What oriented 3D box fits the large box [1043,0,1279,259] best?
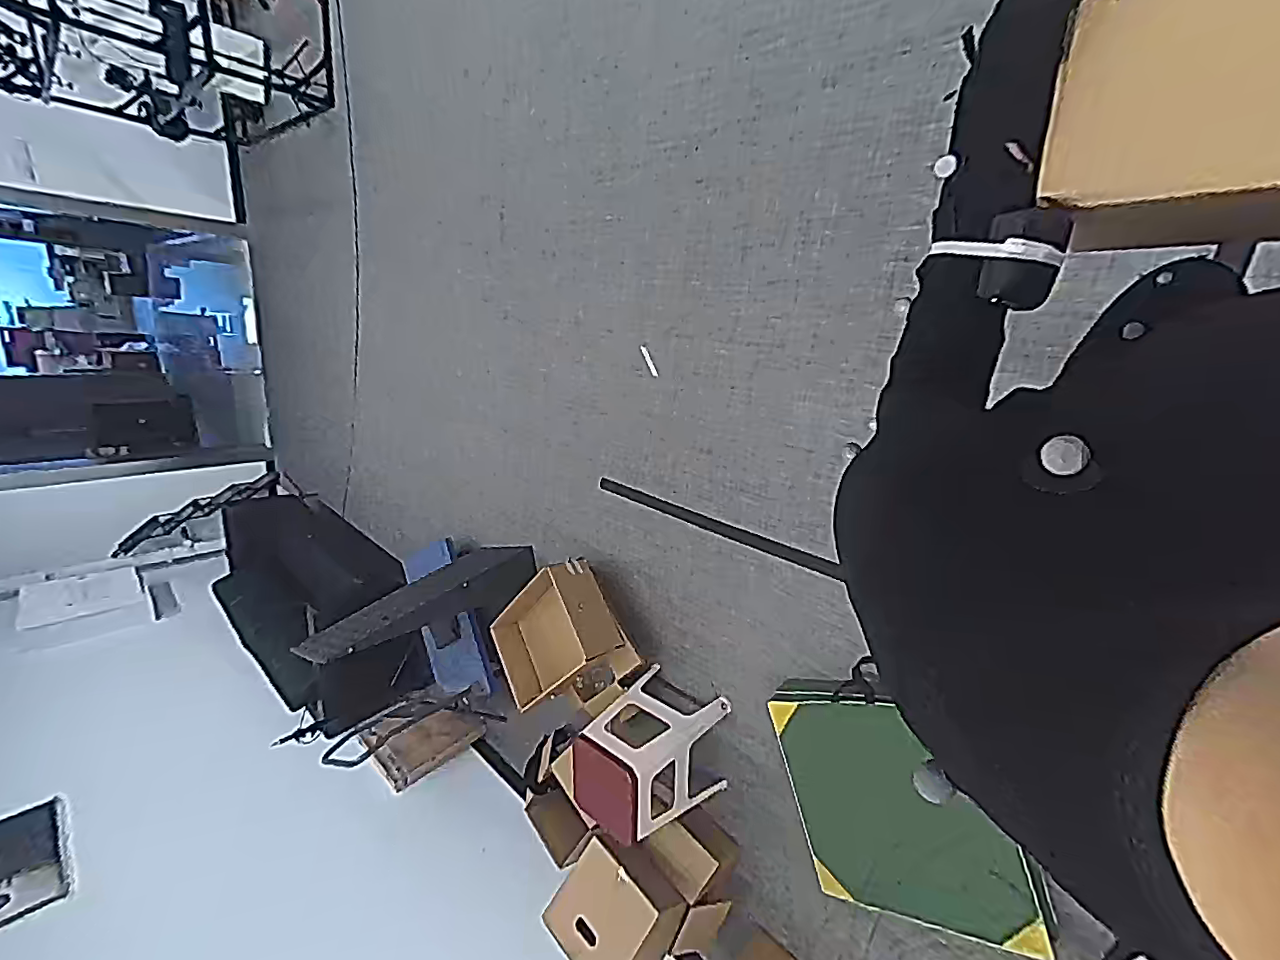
[{"bbox_3d":[0.547,-0.342,0.356,0.408,0.320,0.320,13,111,39],"label":"large box"}]
